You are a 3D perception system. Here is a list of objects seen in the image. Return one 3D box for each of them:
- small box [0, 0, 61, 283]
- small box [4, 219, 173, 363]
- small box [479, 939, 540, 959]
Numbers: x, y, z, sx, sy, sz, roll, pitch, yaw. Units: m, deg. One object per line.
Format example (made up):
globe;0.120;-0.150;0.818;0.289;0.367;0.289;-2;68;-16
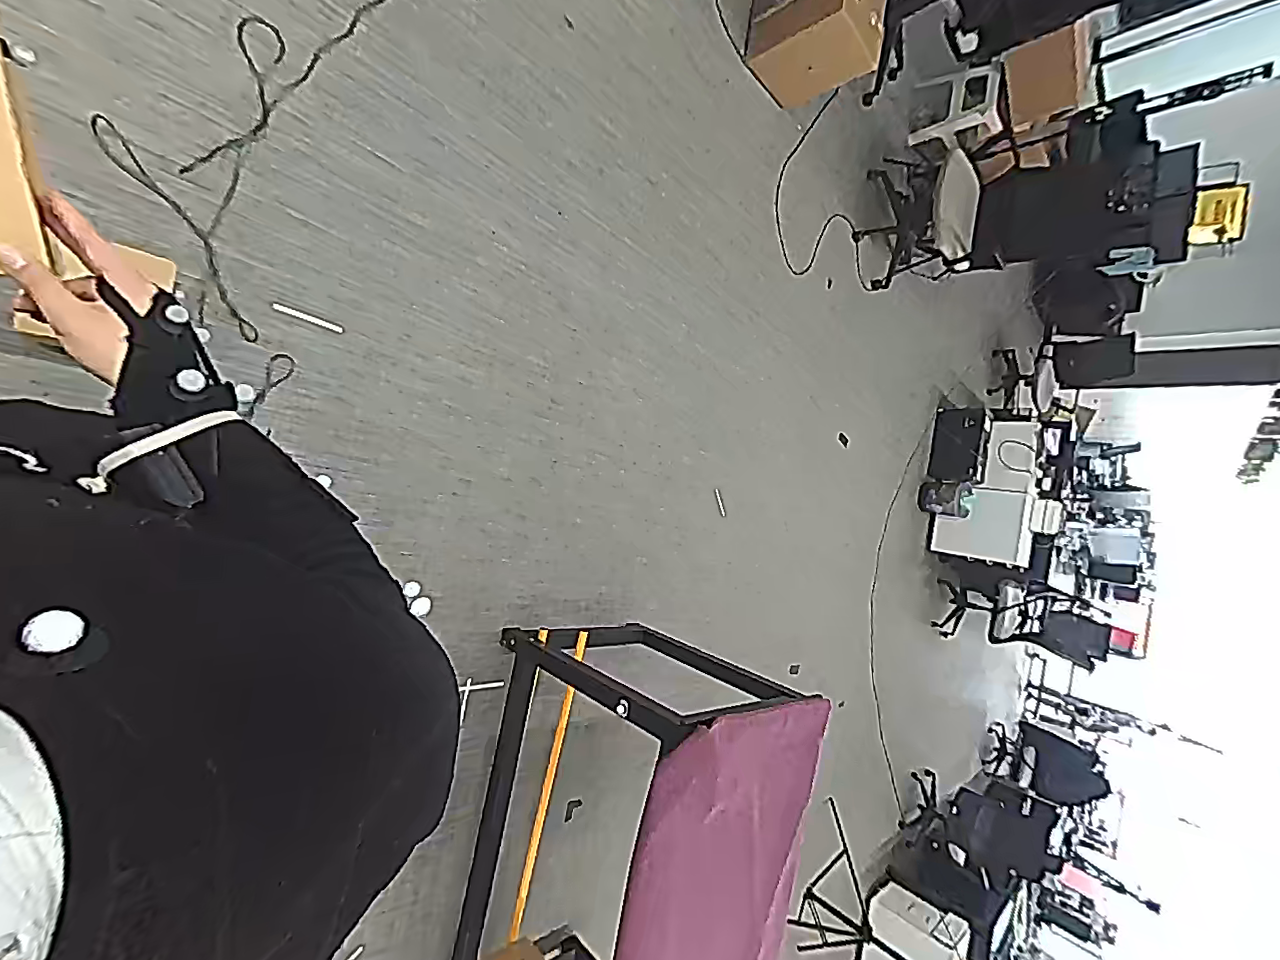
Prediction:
small box;-0.481;-0.219;0.323;0.168;0.176;0.179;-12;113;-44
small box;-0.910;-0.305;0.901;0.168;0.176;0.179;12;88;-44
small box;-0.377;1.455;1.519;0.179;0.176;0.168;16;83;-45
